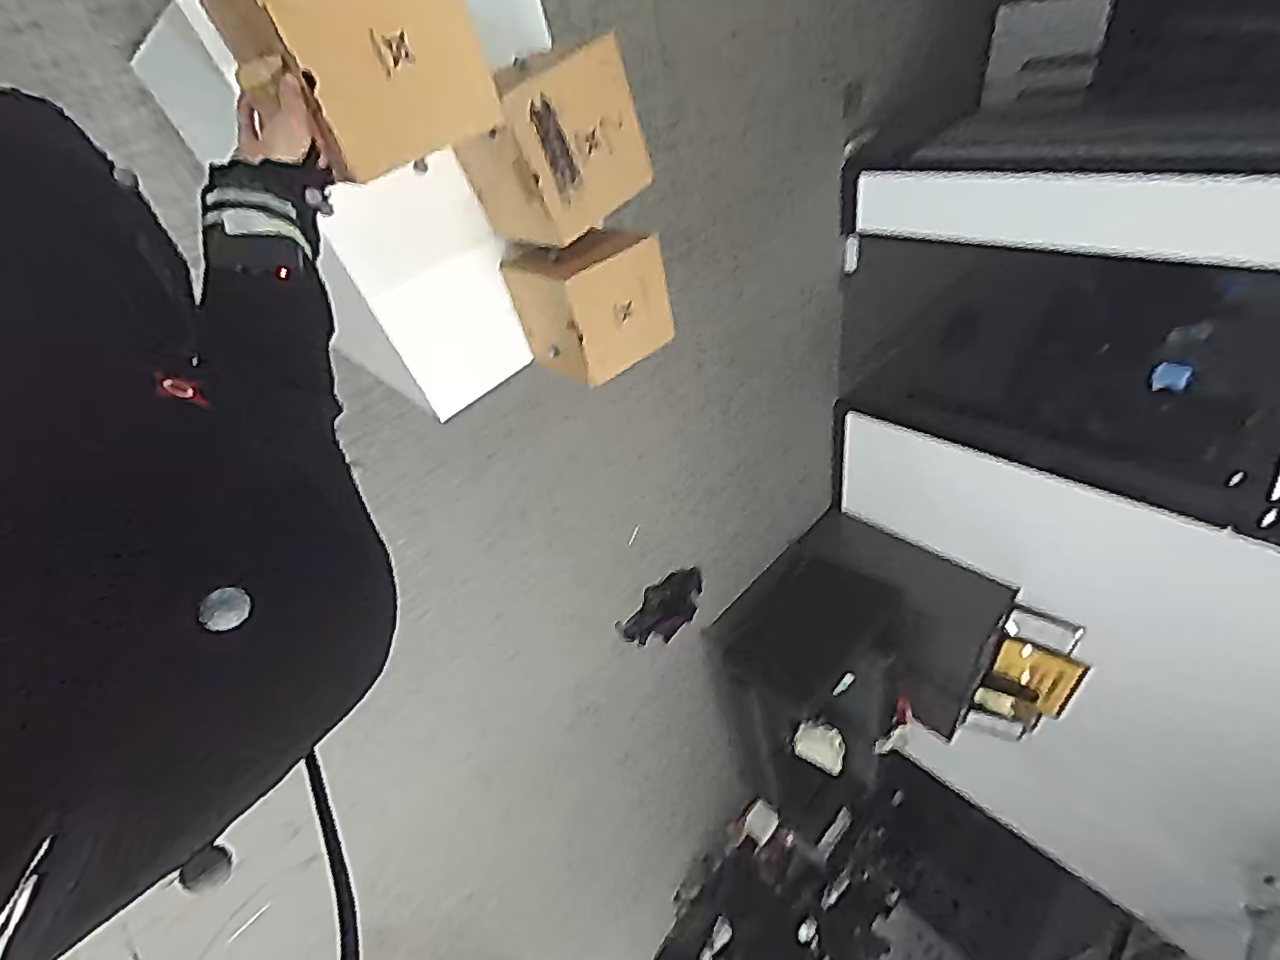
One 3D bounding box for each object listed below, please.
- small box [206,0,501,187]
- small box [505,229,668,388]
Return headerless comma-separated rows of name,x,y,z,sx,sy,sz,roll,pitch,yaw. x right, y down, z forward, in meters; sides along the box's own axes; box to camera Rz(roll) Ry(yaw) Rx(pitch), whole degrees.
small box,-0.279,-0.414,0.539,0.179,0.176,0.168,-41,137,-24
small box,-0.085,-0.271,0.835,0.179,0.176,0.168,-39,137,-26
